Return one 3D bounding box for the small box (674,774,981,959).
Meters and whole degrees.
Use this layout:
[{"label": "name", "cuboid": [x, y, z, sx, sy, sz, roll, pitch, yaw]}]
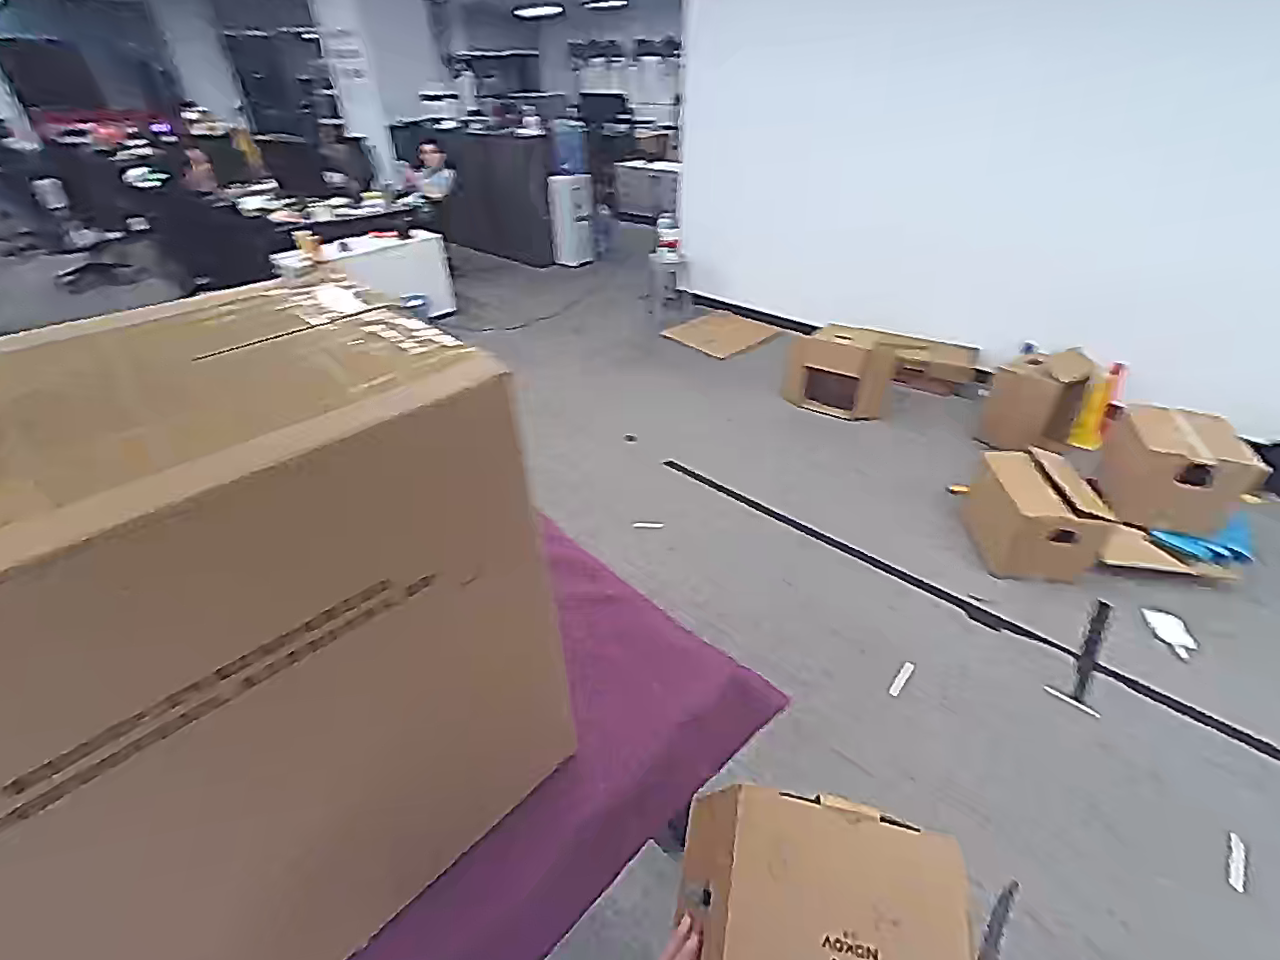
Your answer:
[{"label": "small box", "cuboid": [0.123, 0.344, 0.401, 0.168, 0.176, 0.179, 14, 54, 2]}]
